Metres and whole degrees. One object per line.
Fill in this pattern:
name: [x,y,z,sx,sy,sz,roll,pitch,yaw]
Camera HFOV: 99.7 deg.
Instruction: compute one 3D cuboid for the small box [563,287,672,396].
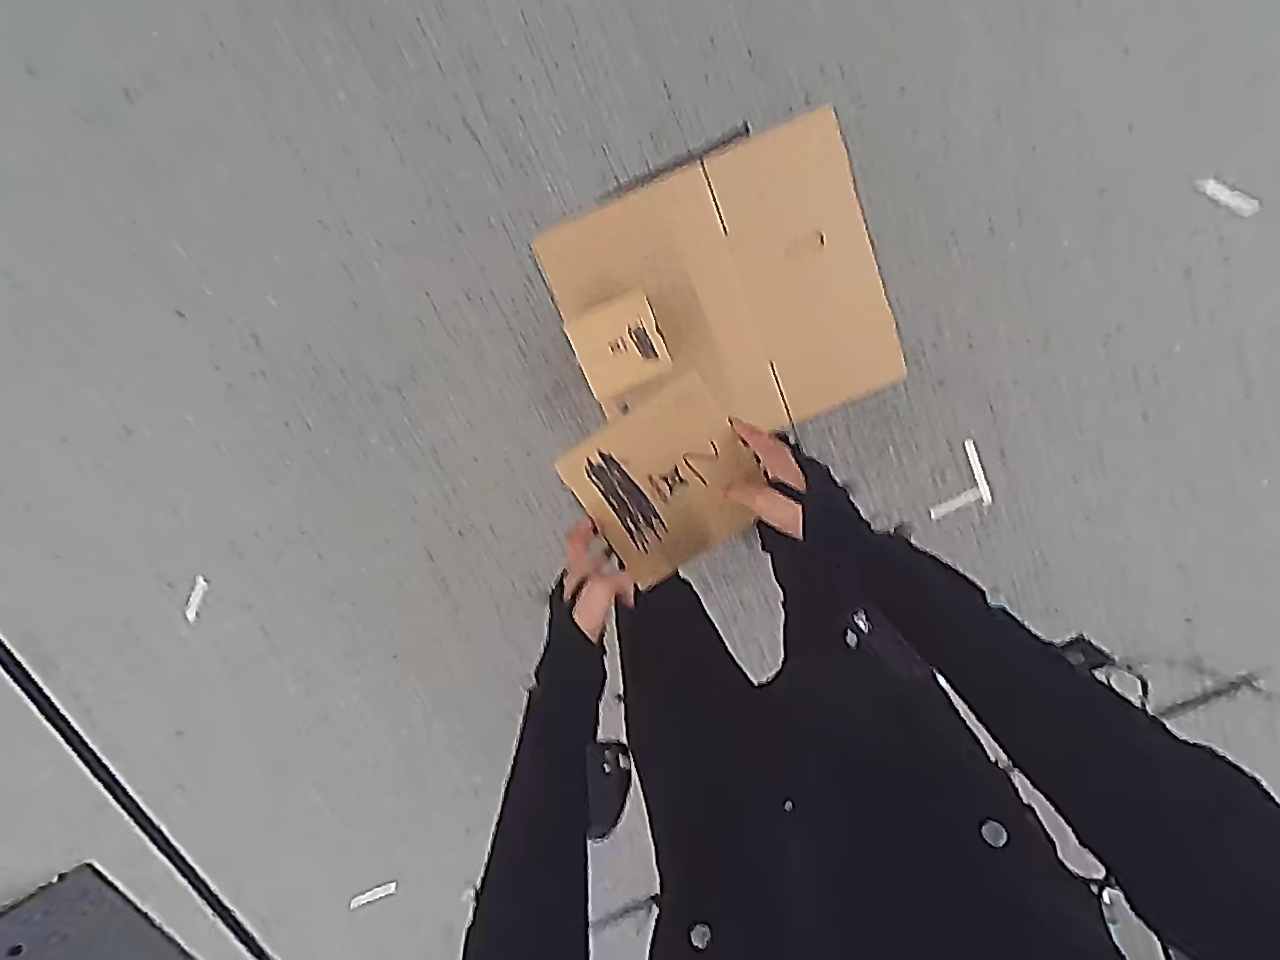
small box: [-0.046,-0.295,1.145,0.179,0.176,0.168,-22,105,5]
